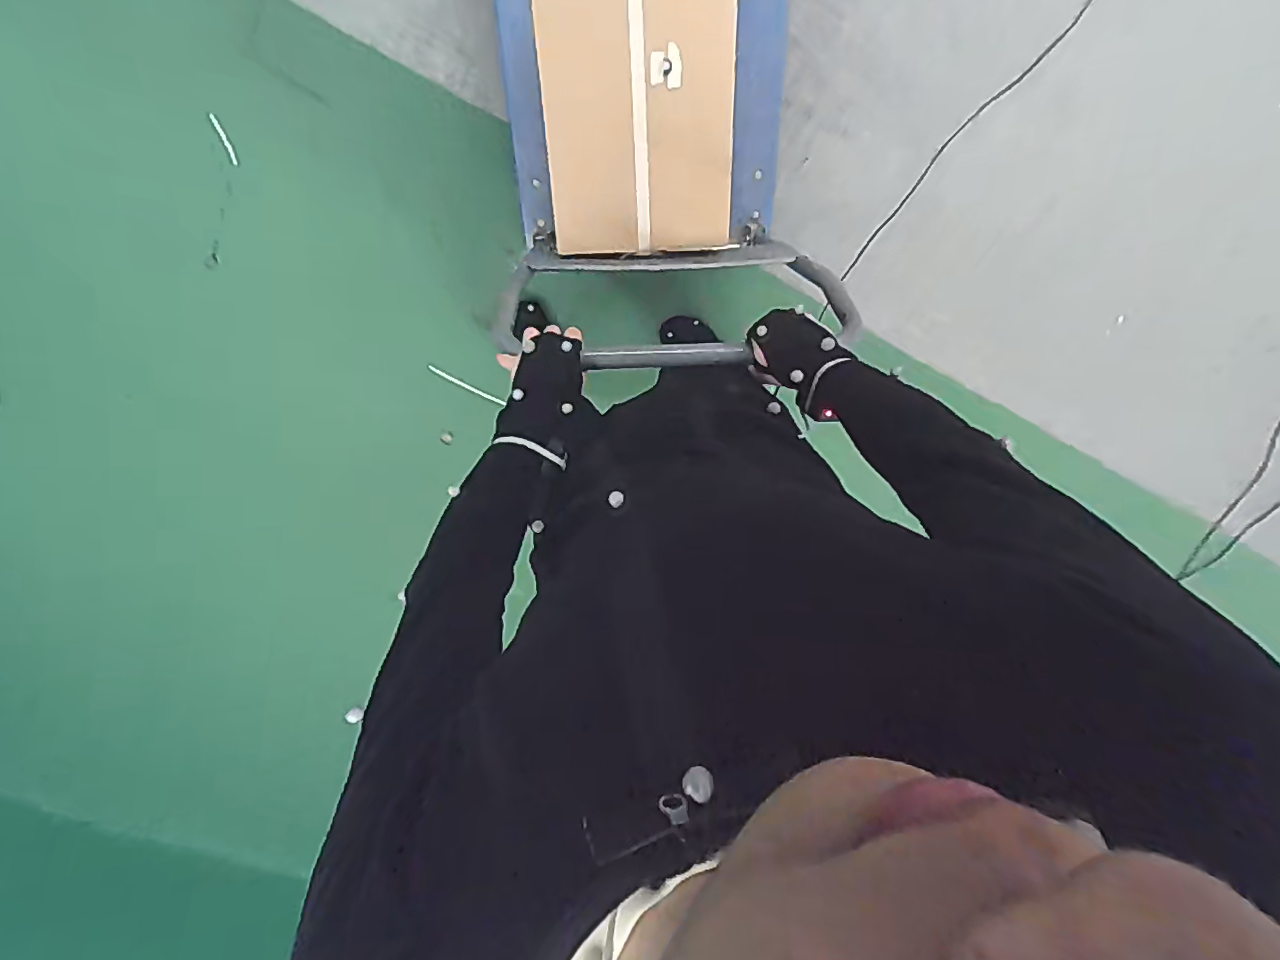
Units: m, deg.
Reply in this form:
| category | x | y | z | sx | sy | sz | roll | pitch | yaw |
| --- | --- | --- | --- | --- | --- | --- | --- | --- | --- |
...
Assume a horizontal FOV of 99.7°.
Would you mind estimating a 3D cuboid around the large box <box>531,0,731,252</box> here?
| category | x | y | z | sx | sy | sz | roll | pitch | yaw |
| --- | --- | --- | --- | --- | --- | --- | --- | --- | --- |
| large box | -0.009 | -0.670 | 1.036 | 0.320 | 0.320 | 0.408 | -3 | 117 | -1 |
